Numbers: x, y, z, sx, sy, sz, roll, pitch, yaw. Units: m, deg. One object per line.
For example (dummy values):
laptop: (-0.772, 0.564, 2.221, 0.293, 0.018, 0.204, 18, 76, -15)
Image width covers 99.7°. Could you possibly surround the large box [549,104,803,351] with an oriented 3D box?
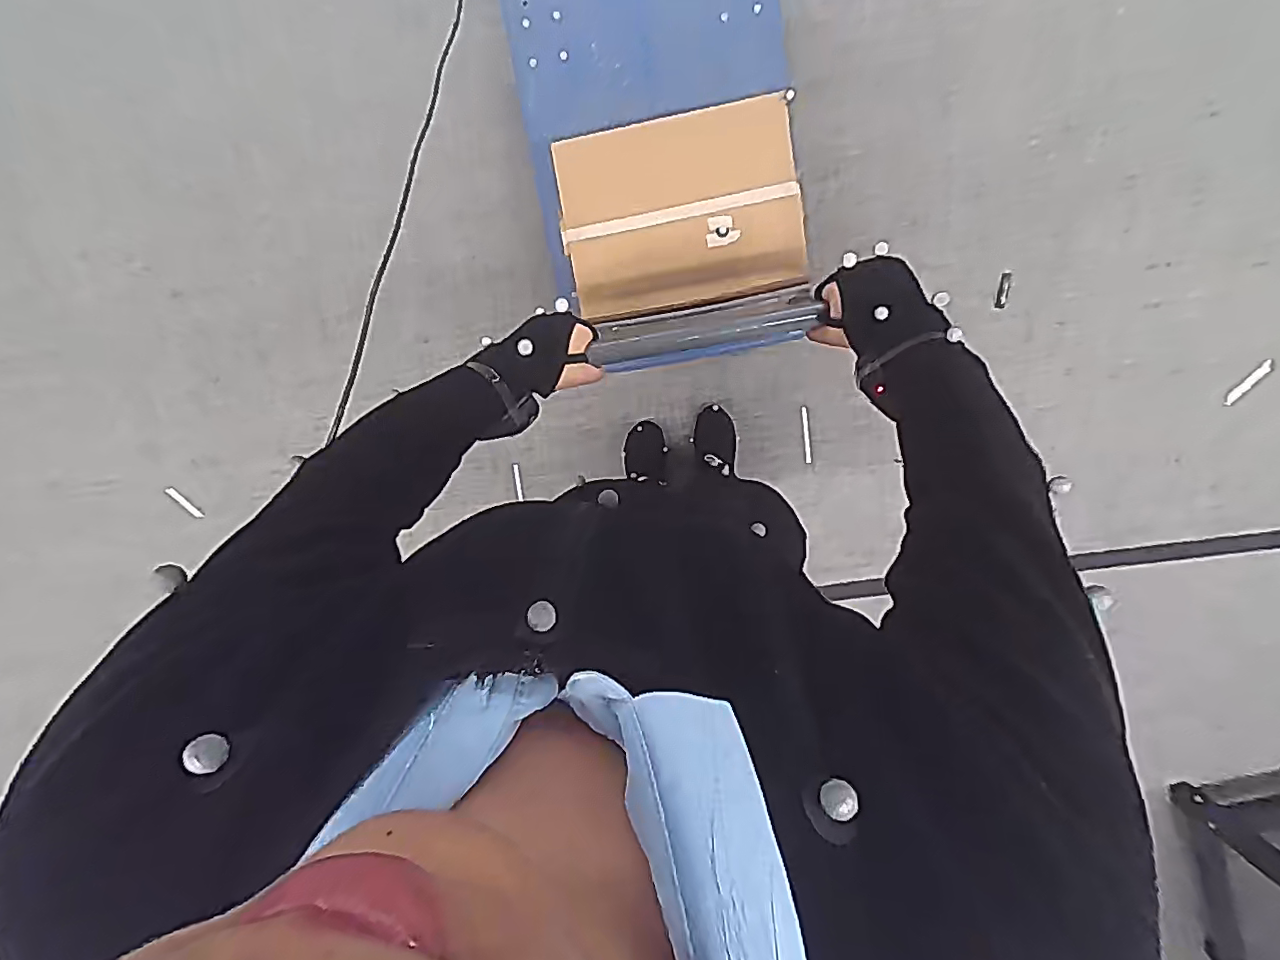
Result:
large box: (0.071, -0.462, 1.080, 0.408, 0.320, 0.320, -9, 98, 5)
